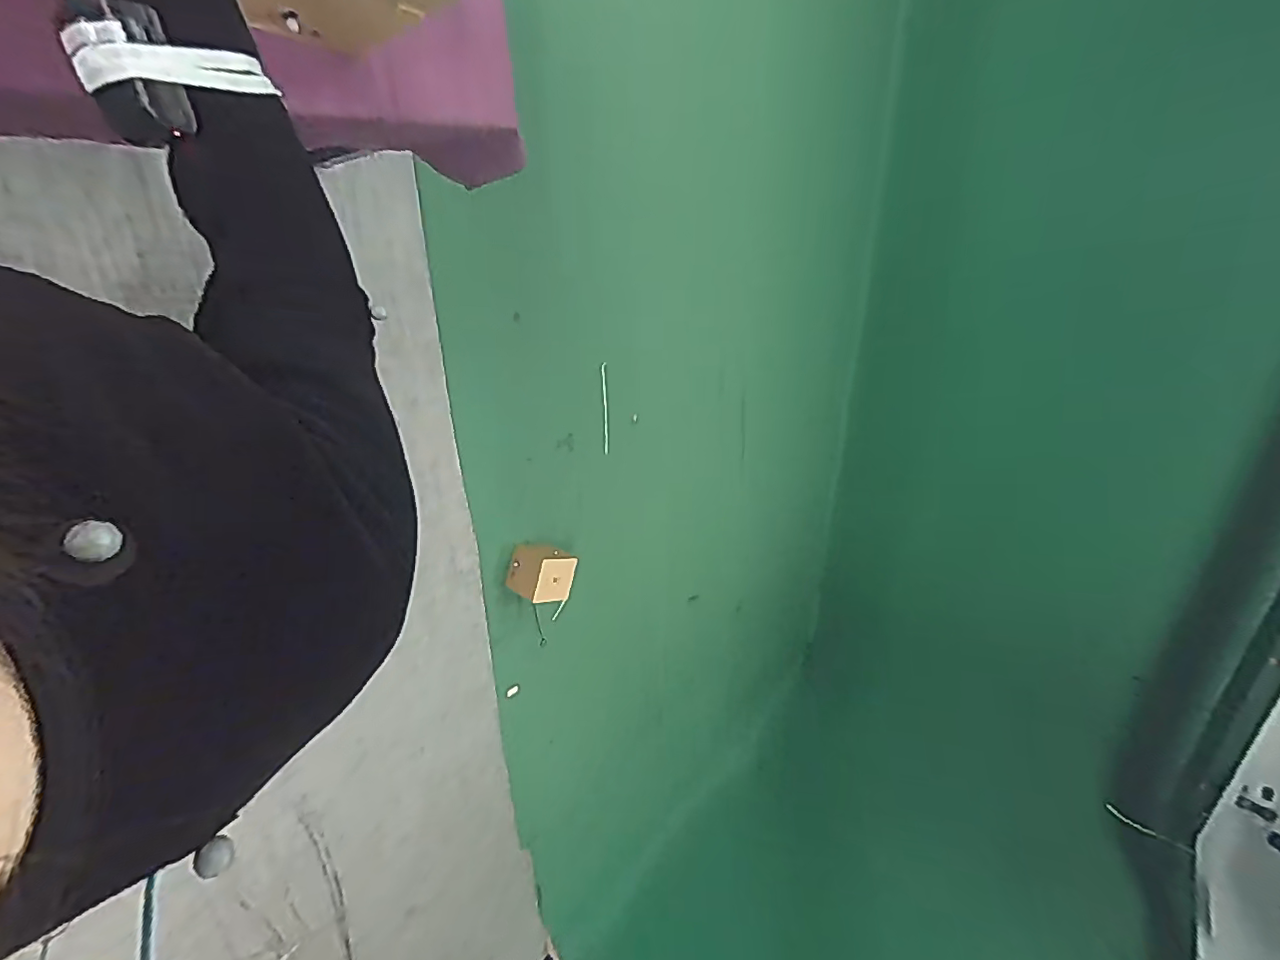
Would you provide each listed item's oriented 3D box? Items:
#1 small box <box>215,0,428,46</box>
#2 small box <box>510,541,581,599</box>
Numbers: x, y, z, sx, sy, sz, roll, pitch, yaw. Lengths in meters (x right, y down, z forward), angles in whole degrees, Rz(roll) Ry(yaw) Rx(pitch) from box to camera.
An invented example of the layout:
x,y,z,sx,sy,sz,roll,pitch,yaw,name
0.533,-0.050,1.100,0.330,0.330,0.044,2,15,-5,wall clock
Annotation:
x,y,z,sx,sy,sz,roll,pitch,yaw,name
-0.335,-0.569,0.528,0.168,0.176,0.179,-22,121,-43,small box
-0.354,0.333,2.025,0.179,0.176,0.168,9,98,-51,small box
